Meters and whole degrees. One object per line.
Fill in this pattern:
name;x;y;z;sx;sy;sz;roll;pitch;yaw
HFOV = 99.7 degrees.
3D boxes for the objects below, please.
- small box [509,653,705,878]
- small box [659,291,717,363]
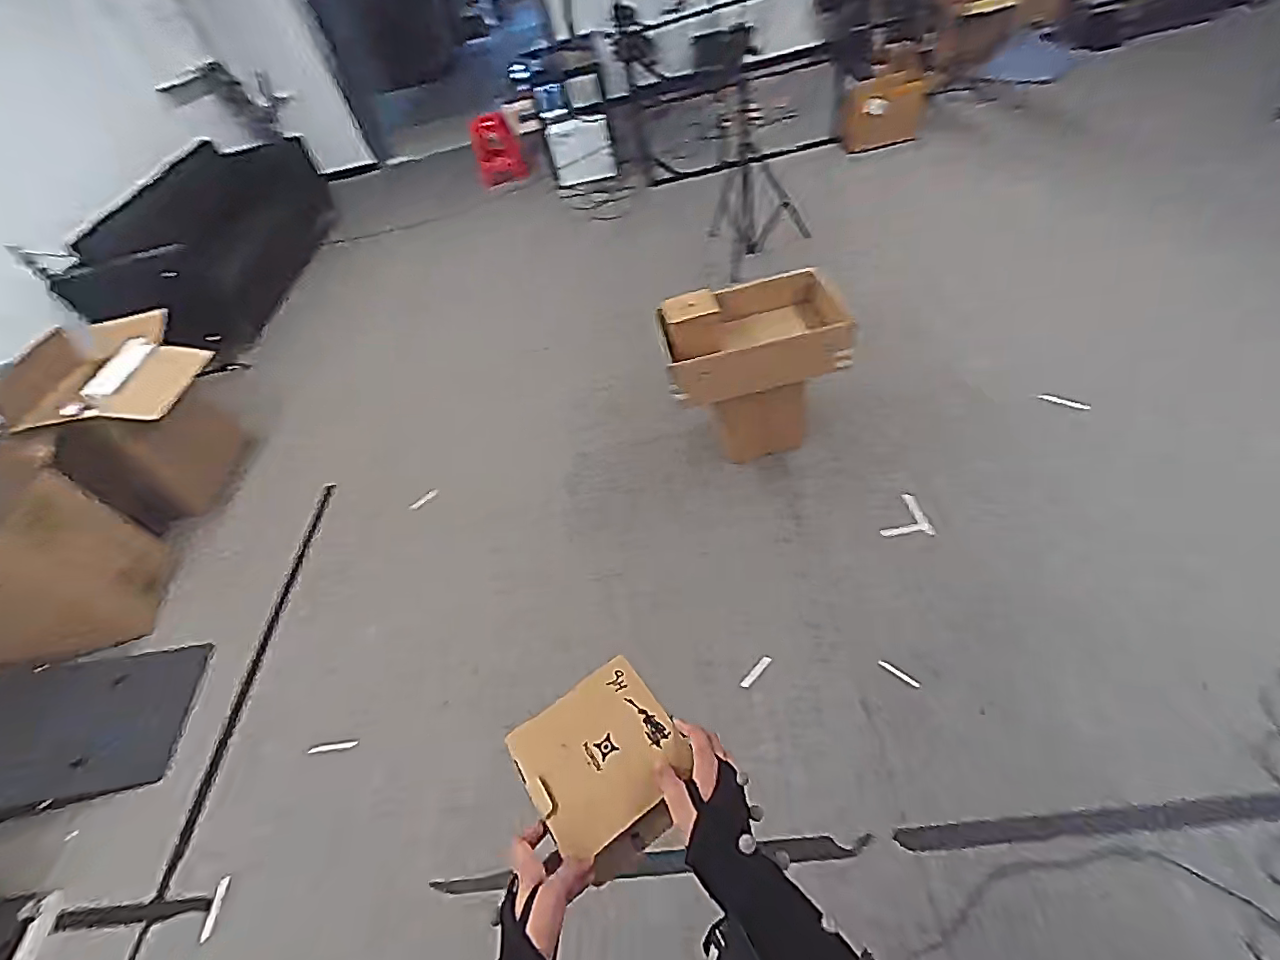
small box;-0.032;0.360;0.678;0.179;0.176;0.168;-31;52;-16
small box;0.180;-0.557;1.976;0.179;0.176;0.168;-15;46;3
